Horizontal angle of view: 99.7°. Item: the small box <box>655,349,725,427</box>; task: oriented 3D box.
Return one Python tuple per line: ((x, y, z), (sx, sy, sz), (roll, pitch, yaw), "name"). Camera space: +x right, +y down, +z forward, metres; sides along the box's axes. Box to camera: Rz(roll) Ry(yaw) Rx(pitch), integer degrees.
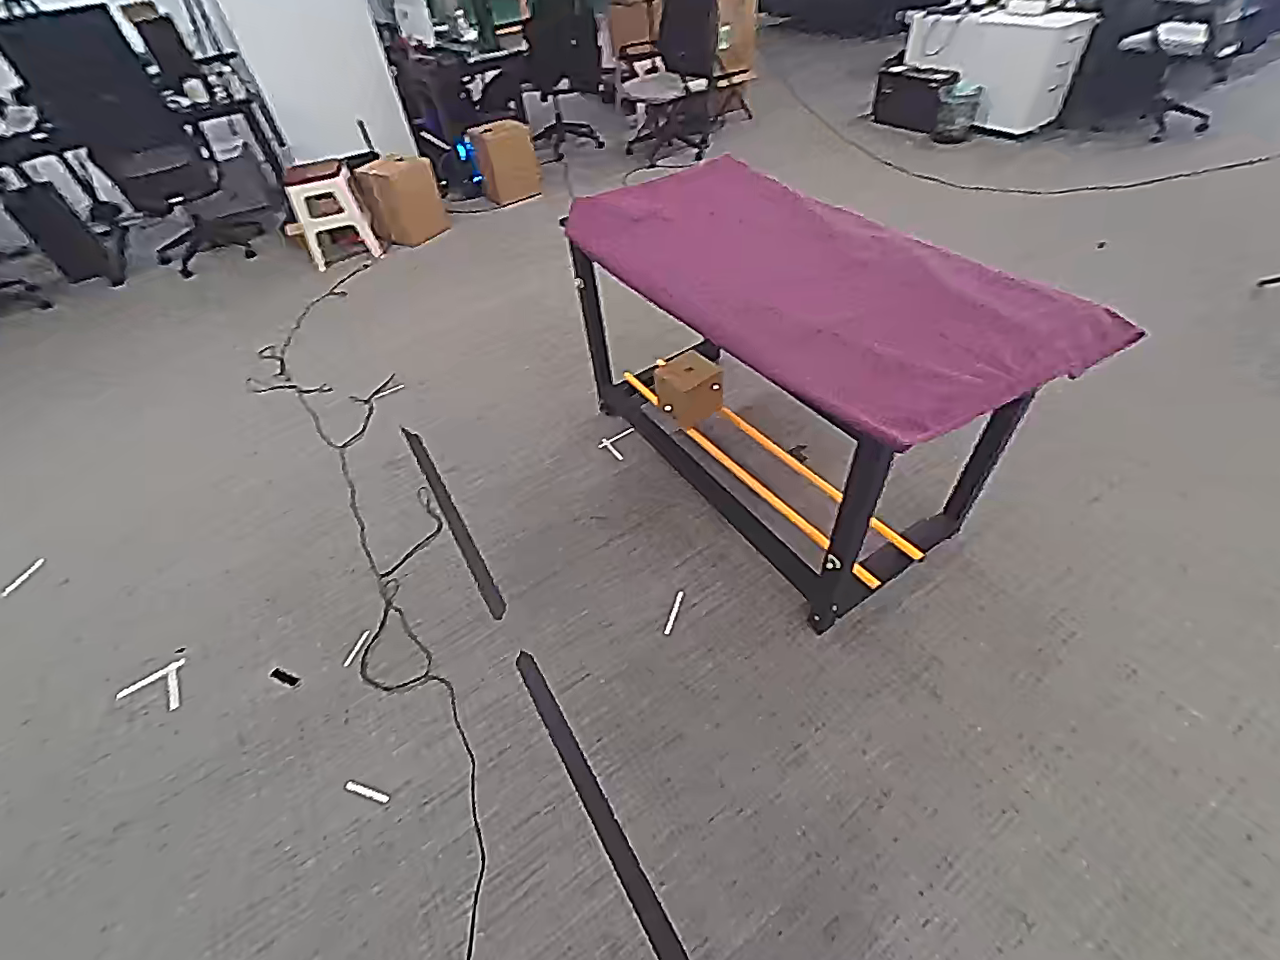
((0.173, -0.315, 1.868), (0.179, 0.176, 0.168), (-32, 52, -19), "small box")
